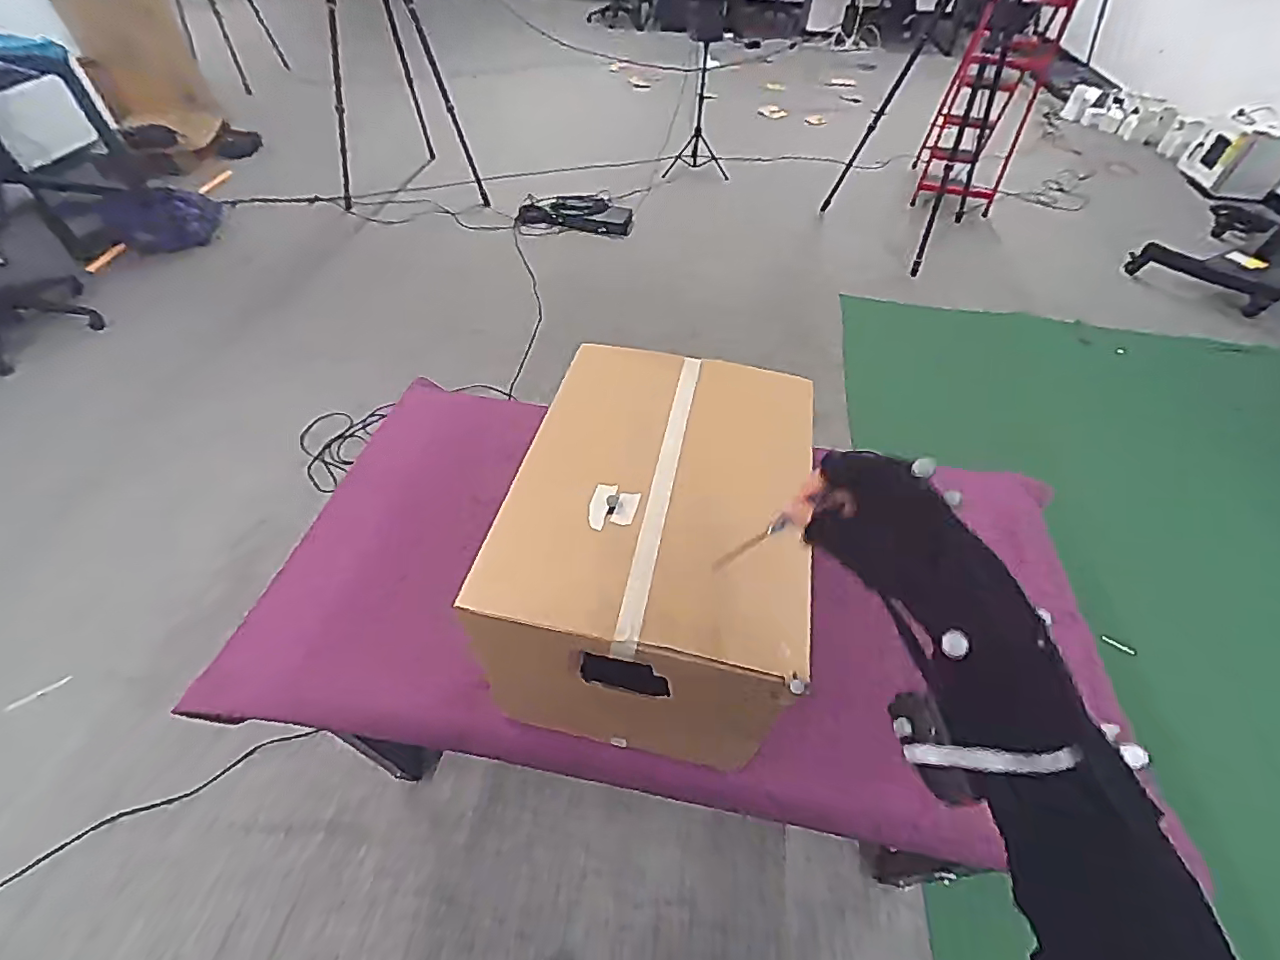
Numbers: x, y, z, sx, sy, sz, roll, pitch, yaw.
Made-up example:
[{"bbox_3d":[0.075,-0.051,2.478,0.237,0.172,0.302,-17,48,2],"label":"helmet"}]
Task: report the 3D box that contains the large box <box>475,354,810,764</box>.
[{"bbox_3d":[0.026,0.097,0.719,0.320,0.320,0.408,11,51,6],"label":"large box"}]
